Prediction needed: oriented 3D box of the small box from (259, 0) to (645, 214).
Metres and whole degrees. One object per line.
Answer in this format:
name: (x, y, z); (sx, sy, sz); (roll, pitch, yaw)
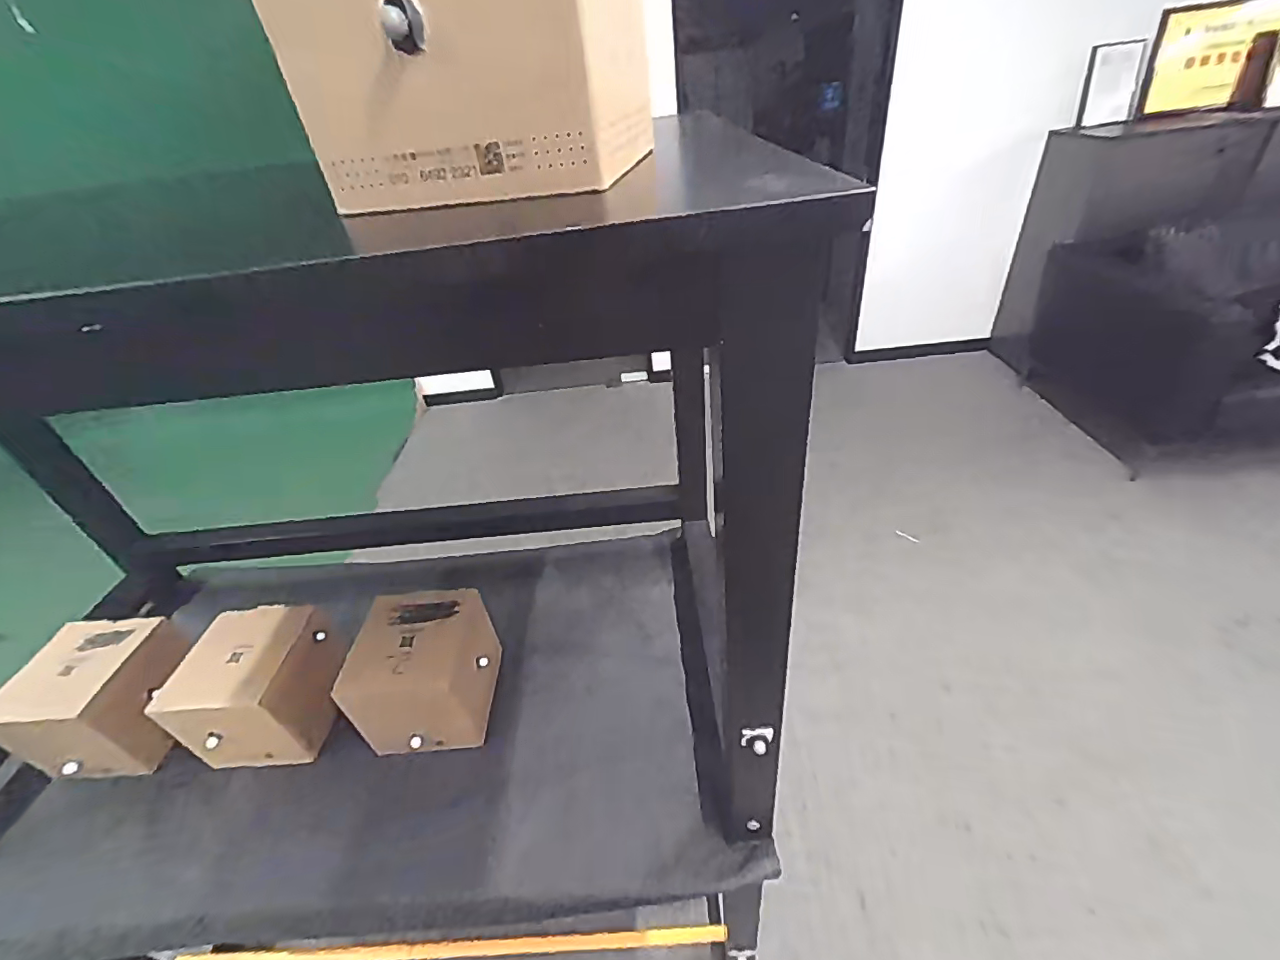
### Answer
small box: (-0.094, -0.266, 0.327); (0.168, 0.176, 0.179); (2, 37, 11)

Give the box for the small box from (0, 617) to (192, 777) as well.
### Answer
small box: (-0.840, 0.343, 0.858); (0.168, 0.176, 0.179); (-5, 37, 3)

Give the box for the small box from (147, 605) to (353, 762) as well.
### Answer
small box: (-0.588, 0.323, 0.849); (0.168, 0.176, 0.179); (-5, 36, 3)
